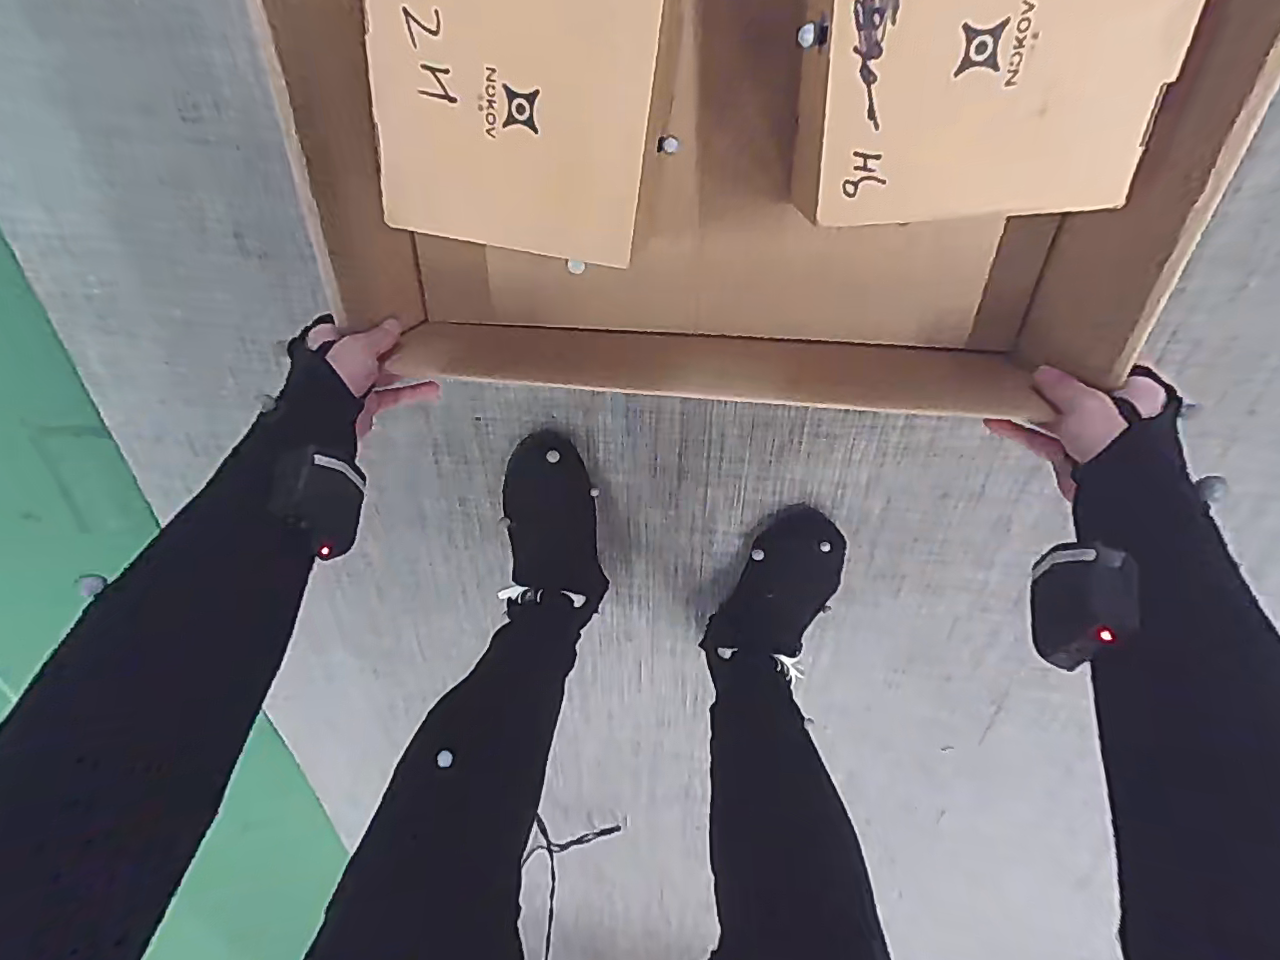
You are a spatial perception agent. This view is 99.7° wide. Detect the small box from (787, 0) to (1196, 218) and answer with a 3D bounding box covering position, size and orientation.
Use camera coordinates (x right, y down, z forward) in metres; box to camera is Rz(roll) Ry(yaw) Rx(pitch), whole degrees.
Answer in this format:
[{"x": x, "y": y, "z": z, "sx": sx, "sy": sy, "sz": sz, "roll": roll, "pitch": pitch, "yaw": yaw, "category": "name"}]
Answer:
[{"x": 0.196, "y": -0.271, "z": 0.344, "sx": 0.179, "sy": 0.176, "sz": 0.168, "roll": 1, "pitch": 122, "yaw": 10, "category": "small box"}]
